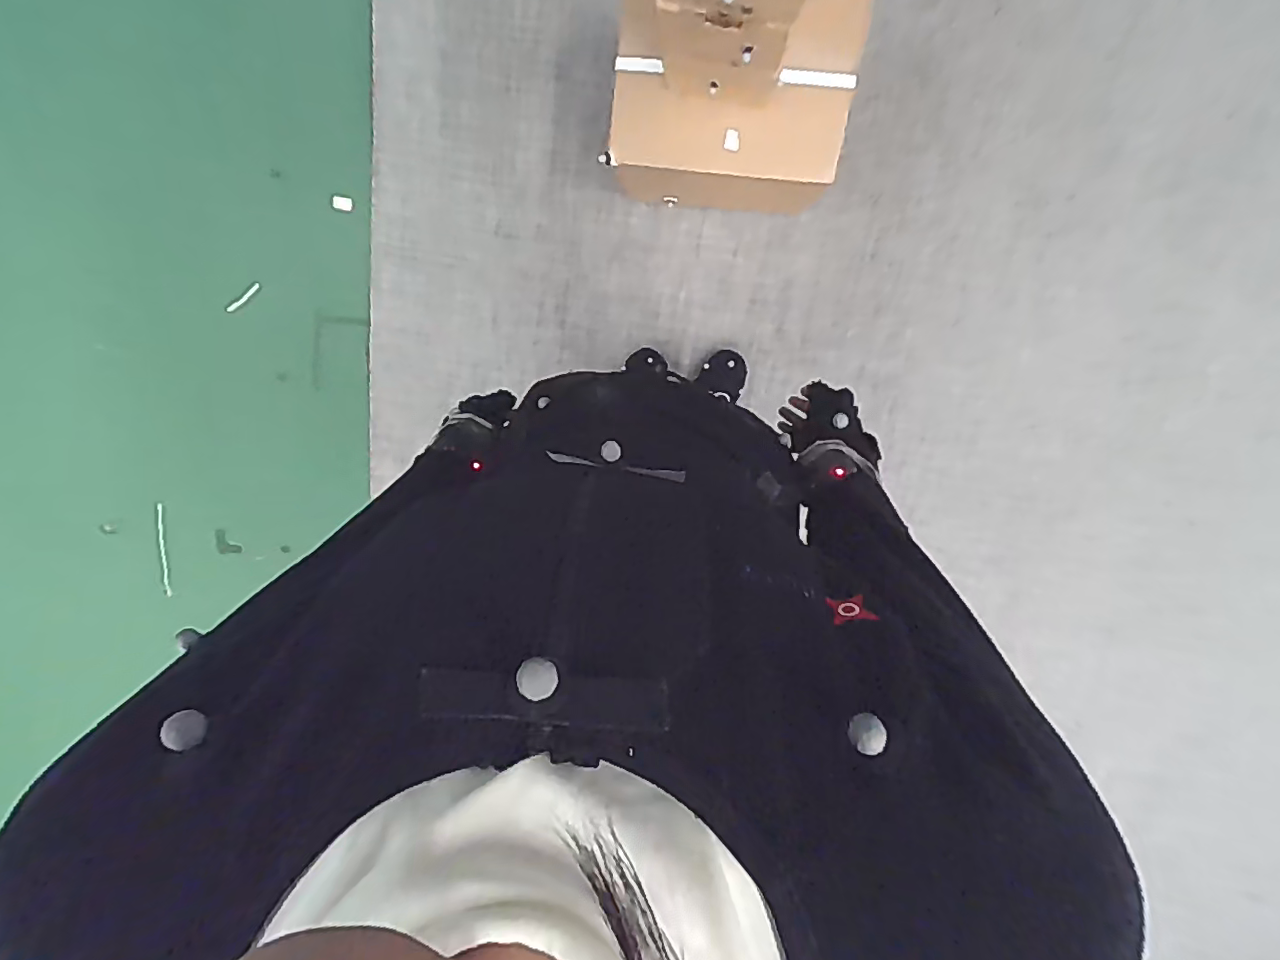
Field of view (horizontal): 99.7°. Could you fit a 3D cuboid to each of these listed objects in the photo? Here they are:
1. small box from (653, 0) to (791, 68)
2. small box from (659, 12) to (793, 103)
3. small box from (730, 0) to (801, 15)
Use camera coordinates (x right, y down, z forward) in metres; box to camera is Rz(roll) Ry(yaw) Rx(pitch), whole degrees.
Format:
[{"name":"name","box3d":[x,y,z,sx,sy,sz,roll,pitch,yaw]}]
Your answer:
[{"name":"small box","box3d":[0.116,-0.650,0.672,0.168,0.176,0.179,10,111,1]},{"name":"small box","box3d":[0.136,-0.703,0.820,0.179,0.176,0.168,14,111,1]},{"name":"small box","box3d":[0.109,-0.594,0.518,0.168,0.176,0.179,12,113,0]}]
